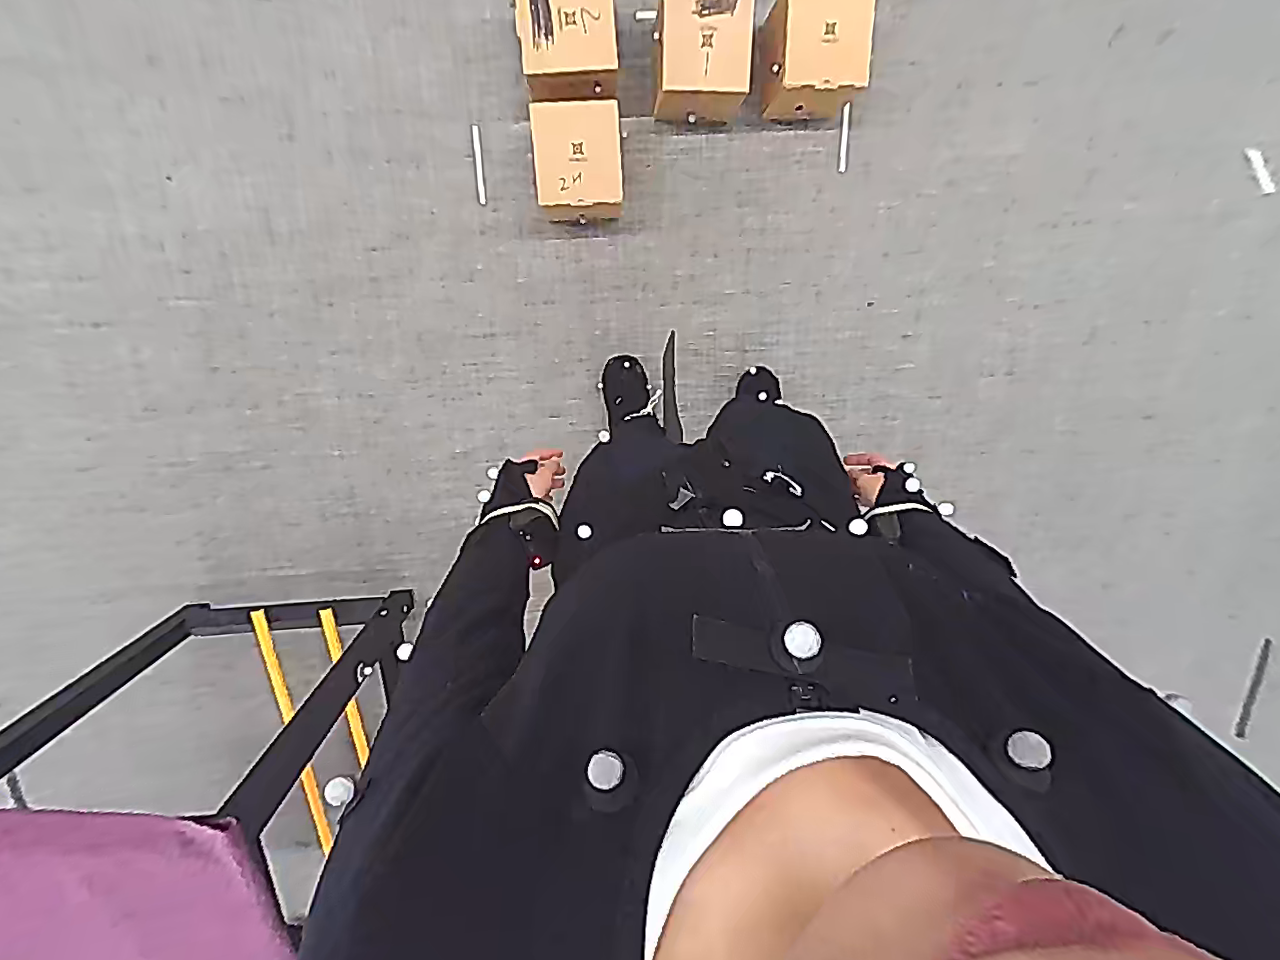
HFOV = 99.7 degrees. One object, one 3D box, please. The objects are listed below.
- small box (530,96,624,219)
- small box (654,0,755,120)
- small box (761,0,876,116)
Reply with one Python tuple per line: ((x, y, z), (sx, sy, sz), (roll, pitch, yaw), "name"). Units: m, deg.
((-0.123, -0.638, 1.087), (0.168, 0.176, 0.179), (-4, 107, -3), "small box")
((0.117, -0.830, 1.050), (0.168, 0.176, 0.179), (-1, 107, -4), "small box")
((0.342, -0.850, 1.065), (0.168, 0.176, 0.179), (-3, 107, -4), "small box")
